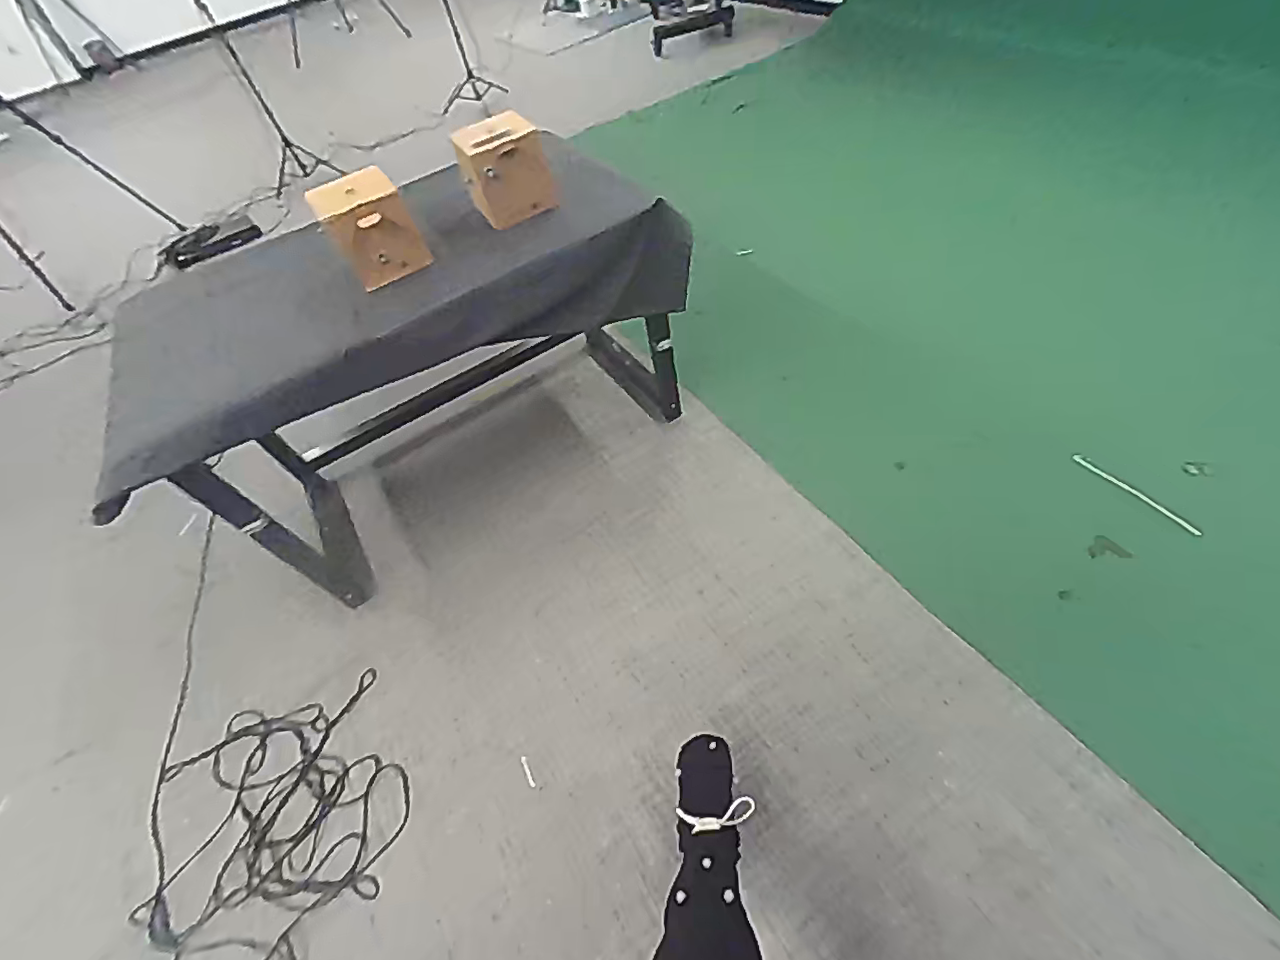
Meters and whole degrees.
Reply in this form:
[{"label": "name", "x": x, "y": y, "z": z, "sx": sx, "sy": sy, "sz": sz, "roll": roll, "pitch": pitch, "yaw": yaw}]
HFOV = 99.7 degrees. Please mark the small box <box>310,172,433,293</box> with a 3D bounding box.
[{"label": "small box", "x": -0.590, "y": -0.545, "z": 1.198, "sx": 0.168, "sy": 0.176, "sz": 0.179, "roll": -32, "pitch": 54, "yaw": -14}]
